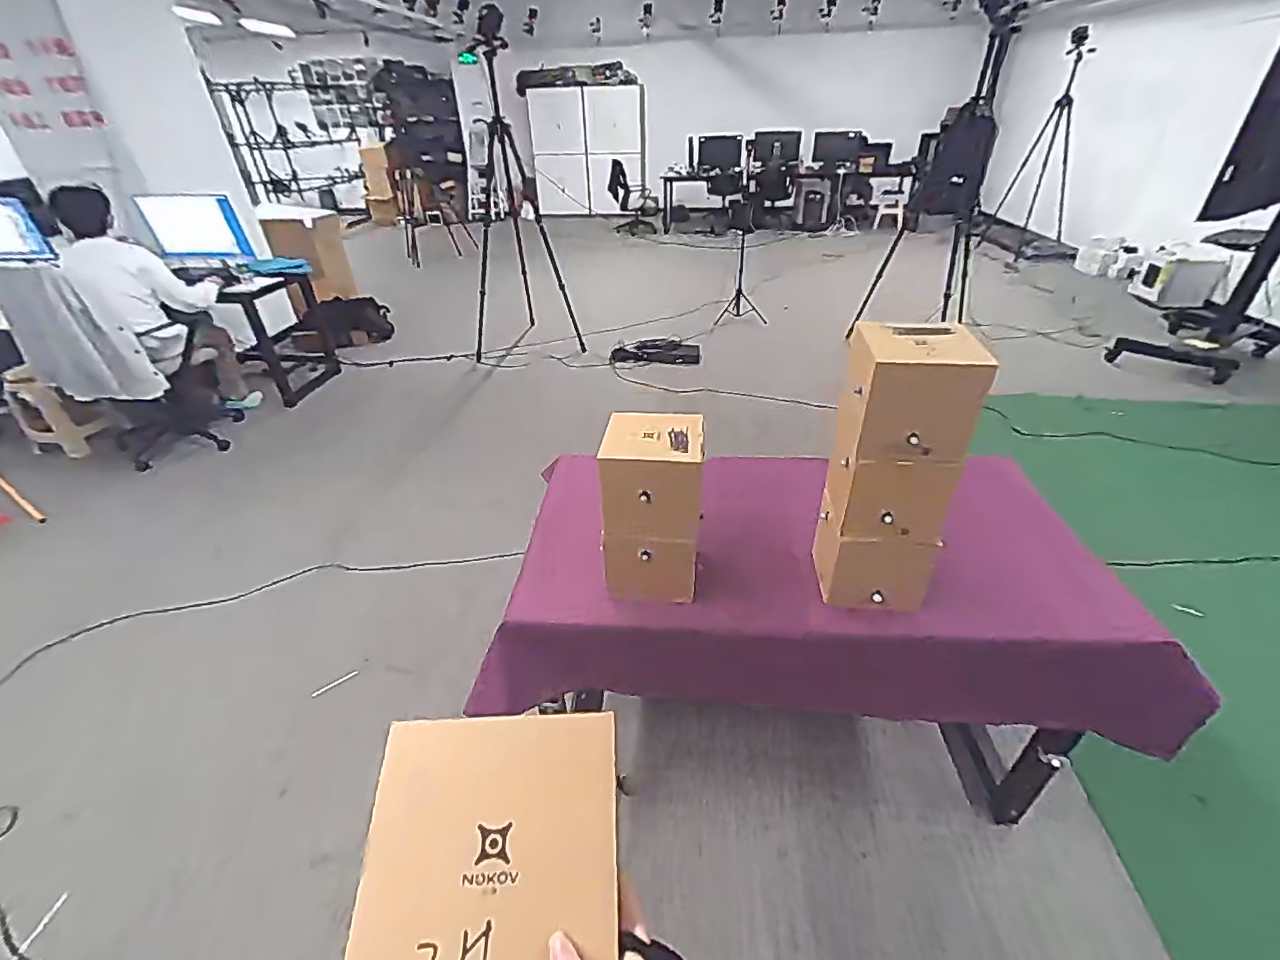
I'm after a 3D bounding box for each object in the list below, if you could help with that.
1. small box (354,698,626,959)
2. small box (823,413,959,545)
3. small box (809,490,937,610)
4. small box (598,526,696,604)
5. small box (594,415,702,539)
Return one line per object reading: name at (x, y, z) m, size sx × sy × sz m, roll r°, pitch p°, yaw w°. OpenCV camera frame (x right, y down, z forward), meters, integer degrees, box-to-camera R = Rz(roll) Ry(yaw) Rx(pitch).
small box at (-0.095, 0.284, 0.429) m, size 0.168 × 0.176 × 0.179 m, roll -2°, pitch 57°, yaw -2°
small box at (0.436, -0.005, 0.973) m, size 0.168 × 0.176 × 0.179 m, roll 2°, pitch 35°, yaw 7°
small box at (0.441, 0.136, 1.055) m, size 0.179 × 0.176 × 0.168 m, roll 2°, pitch 34°, yaw 6°
small box at (0.021, 0.131, 1.086) m, size 0.179 × 0.176 × 0.168 m, roll 3°, pitch 35°, yaw 7°
small box at (0.023, -0.005, 0.996) m, size 0.179 × 0.176 × 0.168 m, roll 1°, pitch 35°, yaw 7°
